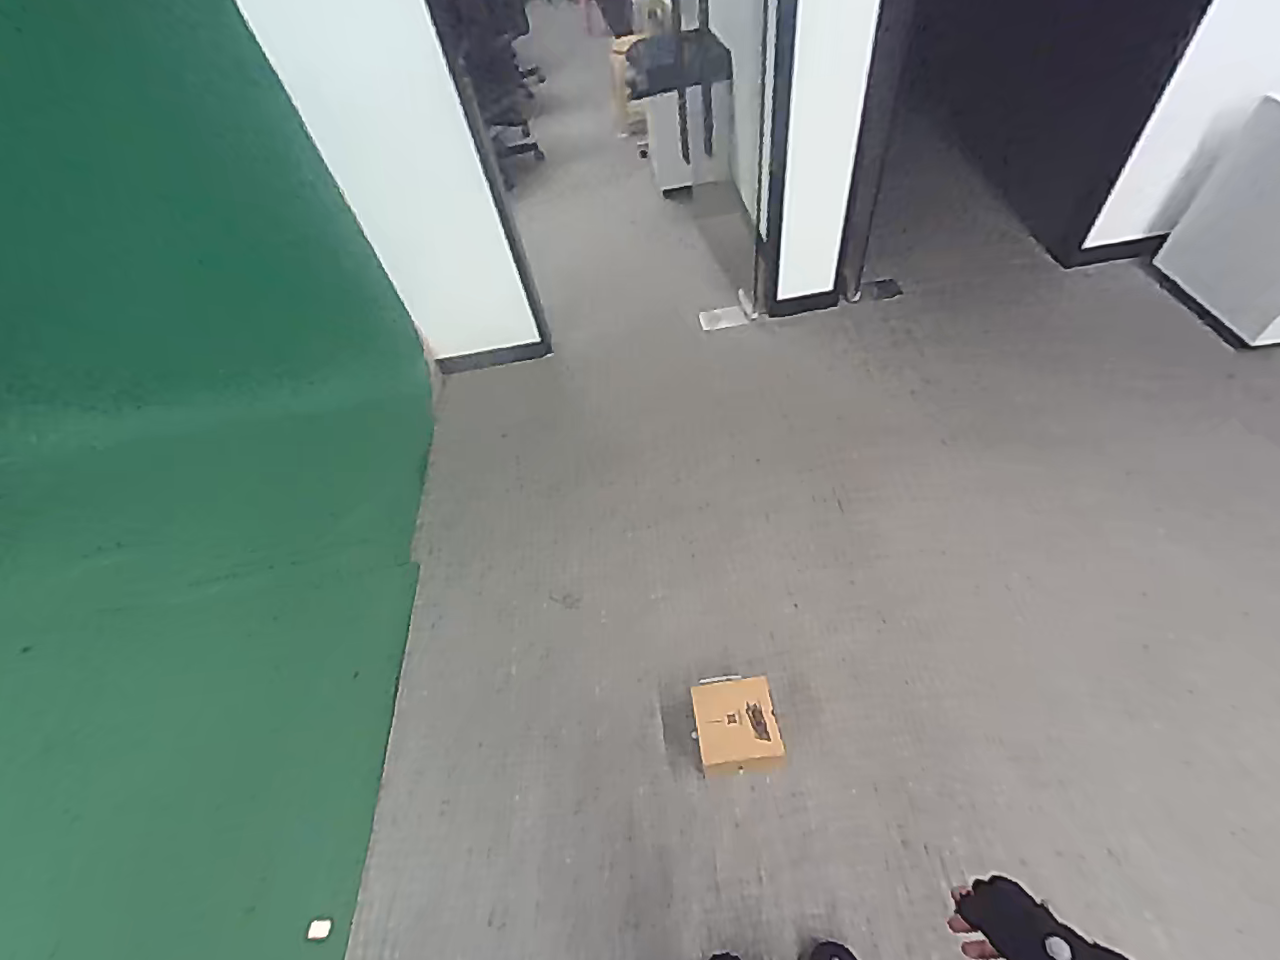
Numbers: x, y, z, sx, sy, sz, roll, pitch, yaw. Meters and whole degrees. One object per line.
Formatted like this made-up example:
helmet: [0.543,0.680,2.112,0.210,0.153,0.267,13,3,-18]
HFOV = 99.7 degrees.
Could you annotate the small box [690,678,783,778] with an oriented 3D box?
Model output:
small box: [0.218,0.572,1.242,0.179,0.176,0.168,-10,51,3]
